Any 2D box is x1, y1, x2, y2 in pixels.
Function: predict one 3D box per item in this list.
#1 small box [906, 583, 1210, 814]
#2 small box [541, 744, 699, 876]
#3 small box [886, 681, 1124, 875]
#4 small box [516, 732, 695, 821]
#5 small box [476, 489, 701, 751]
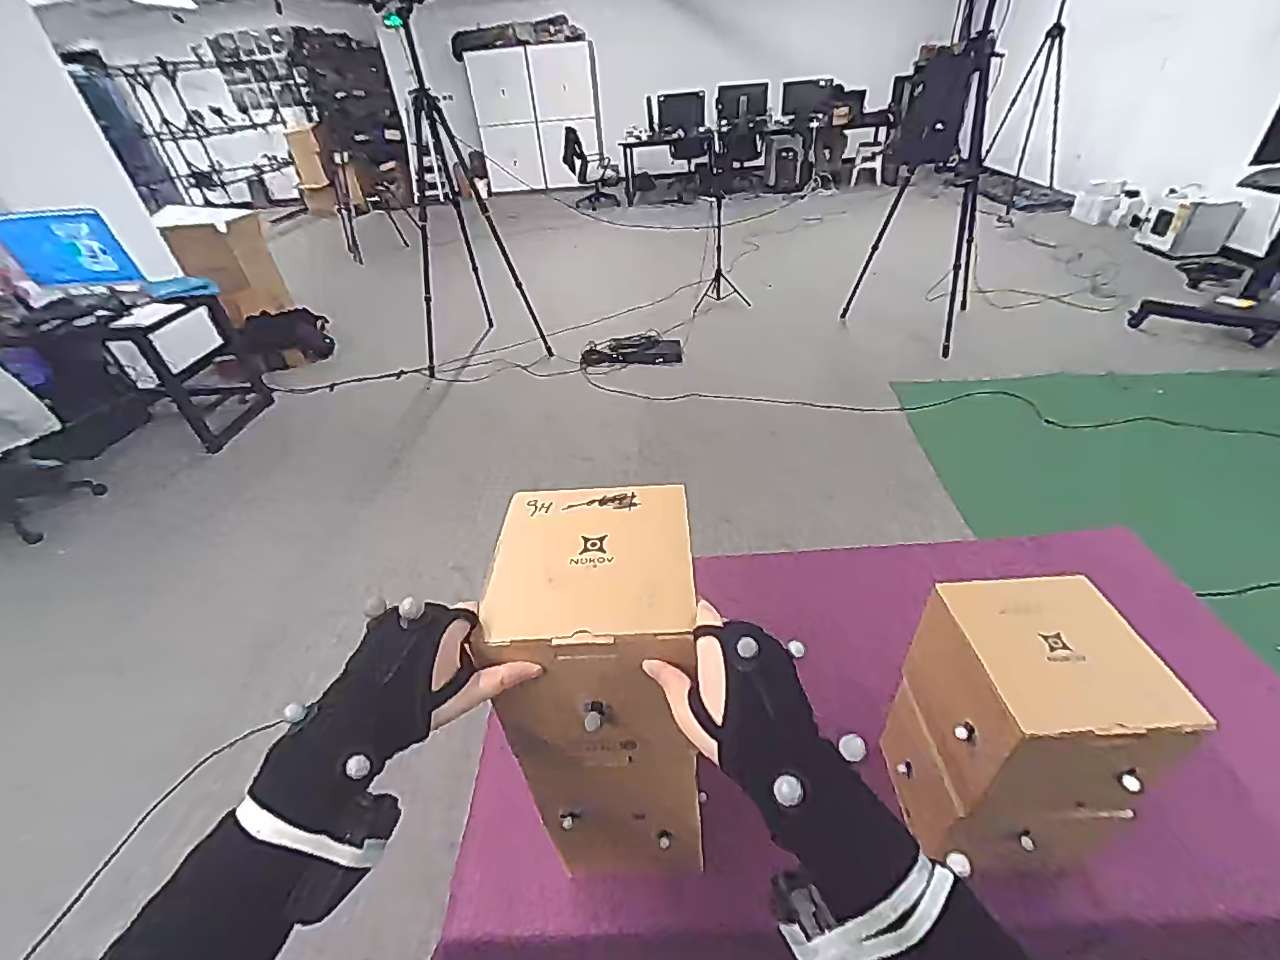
[{"bbox_3d":[0.412,0.234,0.577,0.168,0.176,0.179,-3,36,2],"label":"small box"},{"bbox_3d":[-0.016,0.388,0.698,0.179,0.176,0.168,-2,37,2],"label":"small box"},{"bbox_3d":[0.423,0.367,0.671,0.179,0.176,0.168,-2,38,4],"label":"small box"},{"bbox_3d":[-0.026,0.256,0.601,0.168,0.176,0.179,-2,36,2],"label":"small box"},{"bbox_3d":[-0.031,0.129,0.496,0.168,0.176,0.179,-2,38,2],"label":"small box"}]
